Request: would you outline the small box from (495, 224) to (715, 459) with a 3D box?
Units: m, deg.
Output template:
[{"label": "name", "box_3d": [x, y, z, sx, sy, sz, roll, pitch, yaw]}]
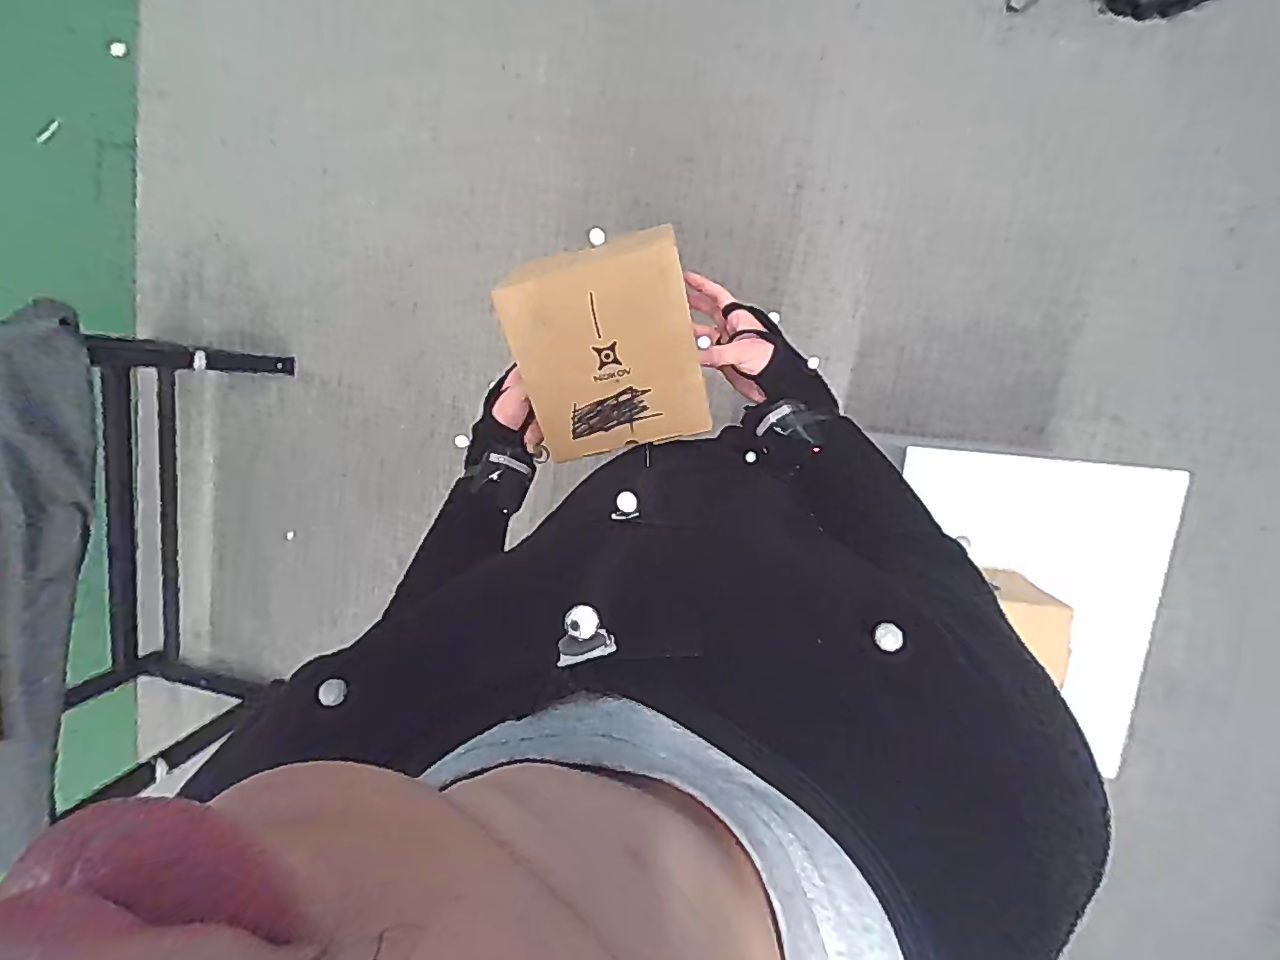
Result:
[{"label": "small box", "box_3d": [-0.024, -0.149, 0.560, 0.168, 0.176, 0.179, -13, 118, 8]}]
